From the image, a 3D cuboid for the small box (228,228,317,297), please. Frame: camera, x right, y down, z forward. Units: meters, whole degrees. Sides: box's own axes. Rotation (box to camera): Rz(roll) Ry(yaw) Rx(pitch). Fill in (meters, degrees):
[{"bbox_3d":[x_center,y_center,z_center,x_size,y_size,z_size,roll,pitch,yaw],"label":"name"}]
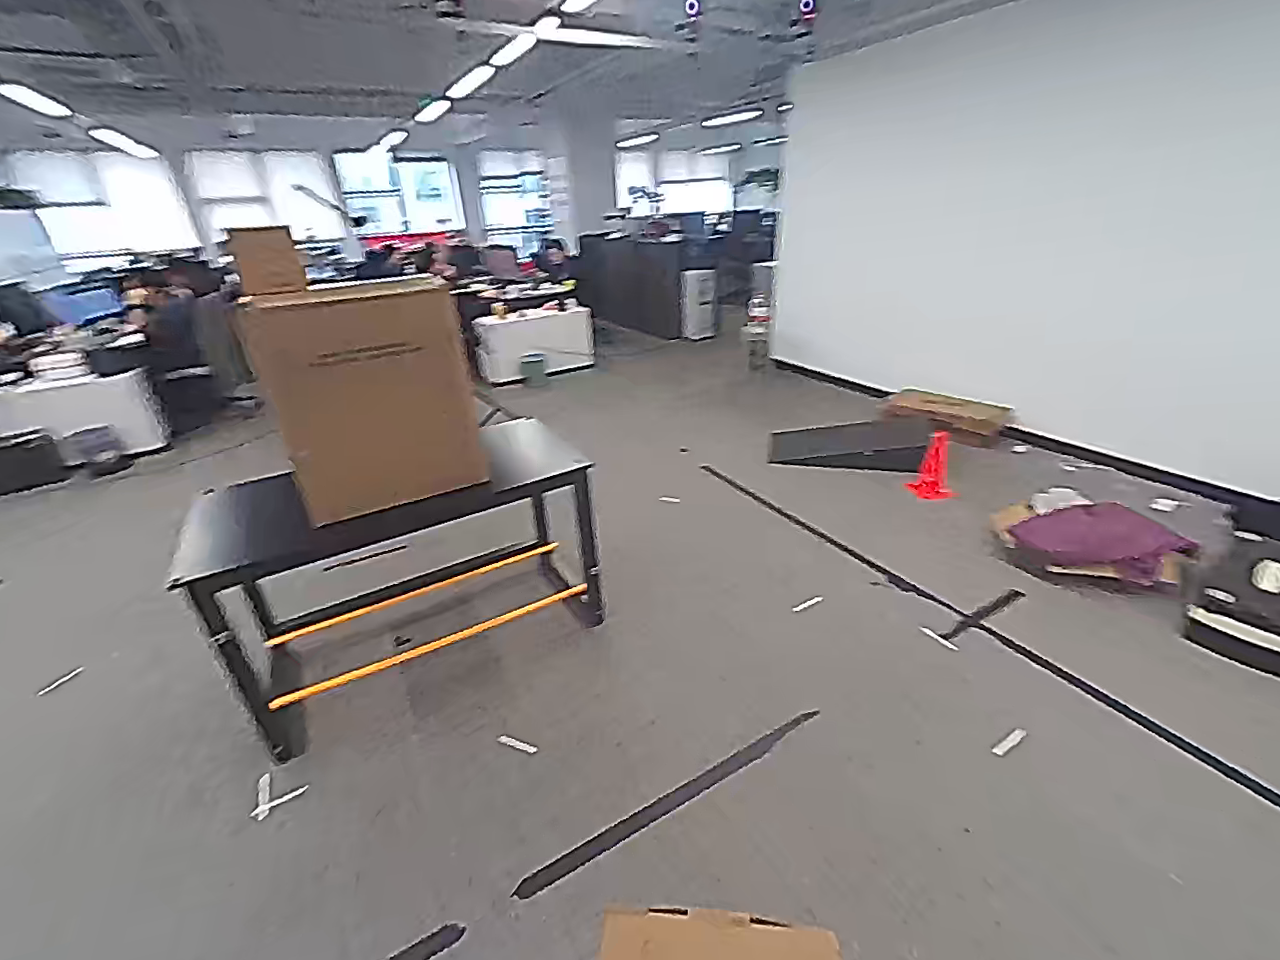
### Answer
[{"bbox_3d":[-1.035,-0.615,1.530,0.168,0.176,0.179,-18,29,-27],"label":"small box"}]
